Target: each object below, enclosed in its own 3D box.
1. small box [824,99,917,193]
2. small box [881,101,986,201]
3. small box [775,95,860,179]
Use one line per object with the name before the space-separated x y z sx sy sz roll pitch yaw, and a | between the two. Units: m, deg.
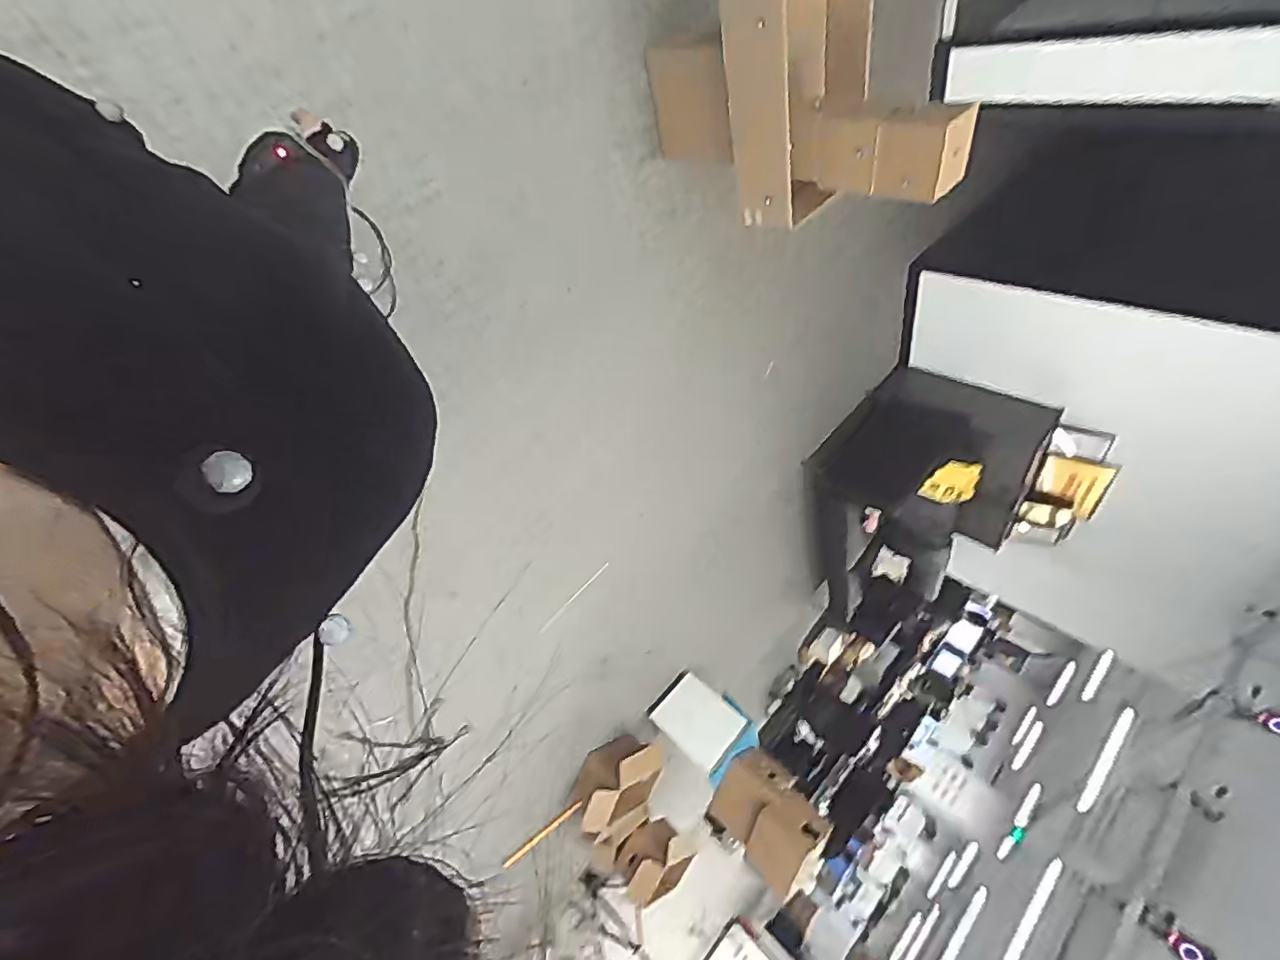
small box | 0.616 -0.906 1.464 0.168 0.176 0.179 -40 140 -22
small box | 0.734 -0.839 1.373 0.168 0.176 0.179 -40 139 -23
small box | 0.504 -0.985 1.554 0.179 0.176 0.168 -39 139 -24
